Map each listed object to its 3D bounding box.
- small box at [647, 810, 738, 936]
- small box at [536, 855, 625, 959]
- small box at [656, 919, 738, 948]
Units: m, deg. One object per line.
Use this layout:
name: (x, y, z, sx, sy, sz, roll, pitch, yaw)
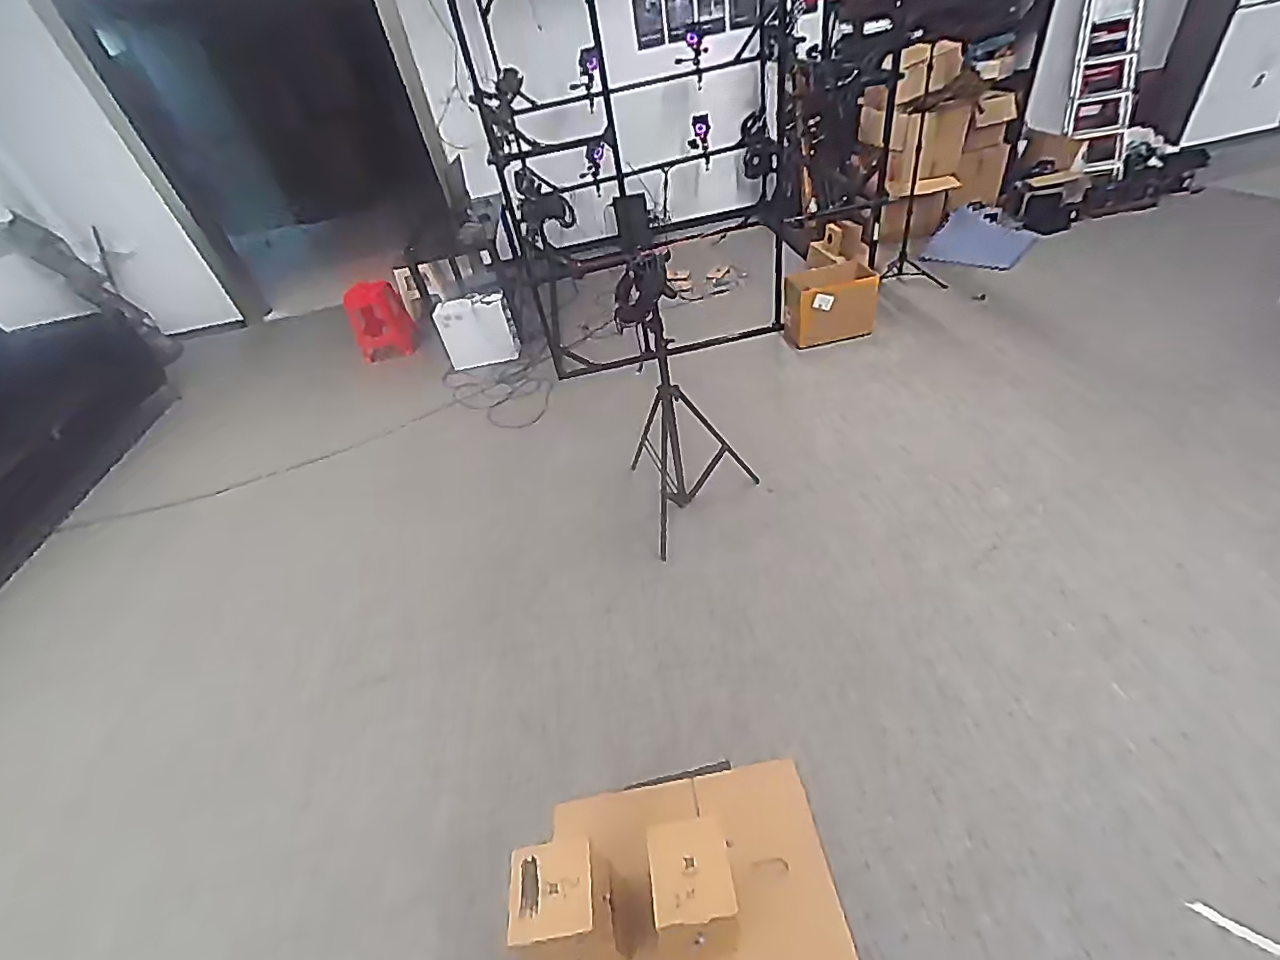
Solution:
small box: (0.111, 0.844, 1.161, 0.168, 0.176, 0.179, -10, 41, 2)
small box: (-0.135, 1.015, 1.274, 0.179, 0.176, 0.168, -13, 40, 1)
small box: (0.127, 0.970, 1.266, 0.179, 0.176, 0.168, -10, 41, 1)
